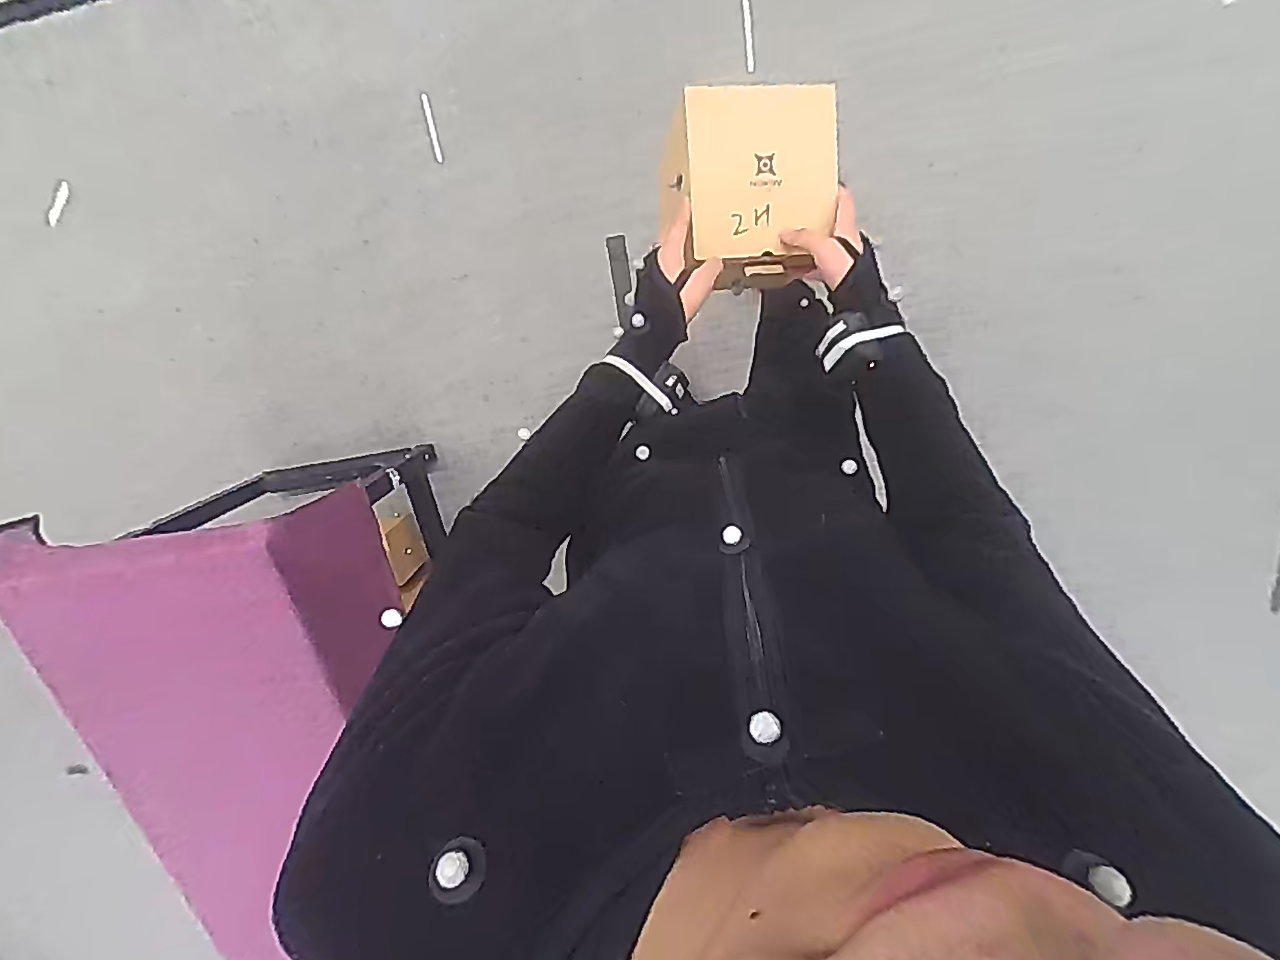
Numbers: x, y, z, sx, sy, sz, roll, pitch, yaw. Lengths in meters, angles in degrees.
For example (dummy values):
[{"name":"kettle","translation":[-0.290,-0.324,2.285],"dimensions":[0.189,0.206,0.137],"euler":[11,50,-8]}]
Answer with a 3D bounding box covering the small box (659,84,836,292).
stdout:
[{"name":"small box","translation":[0.120,-0.339,0.656],"dimensions":[0.168,0.176,0.179],"euler":[-6,99,-6]}]
